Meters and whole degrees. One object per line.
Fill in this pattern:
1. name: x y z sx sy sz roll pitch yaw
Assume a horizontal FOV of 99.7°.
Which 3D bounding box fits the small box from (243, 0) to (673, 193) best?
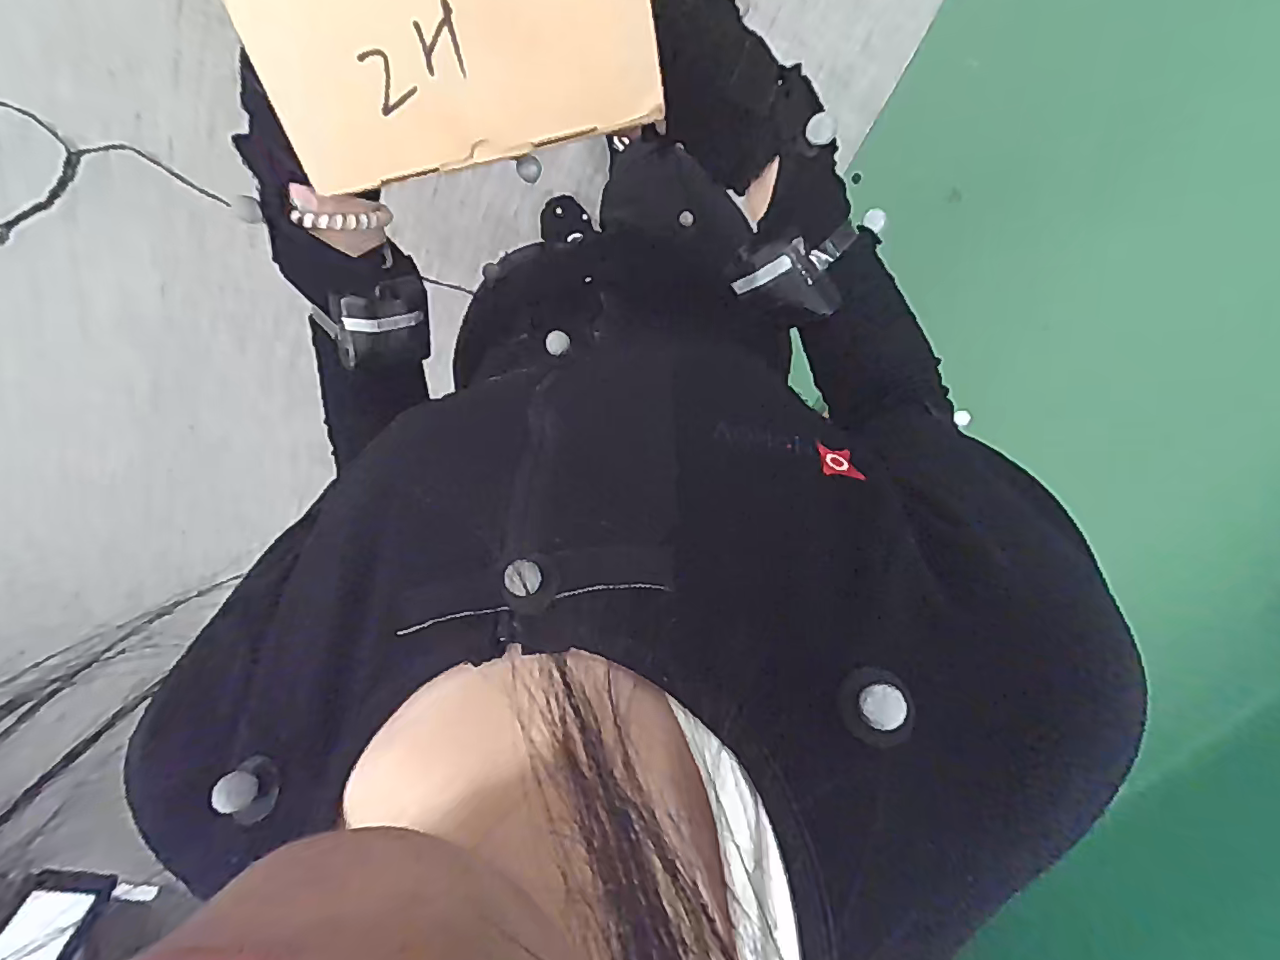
1. small box: -0.083 -0.261 0.267 0.168 0.176 0.179 -10 124 5
